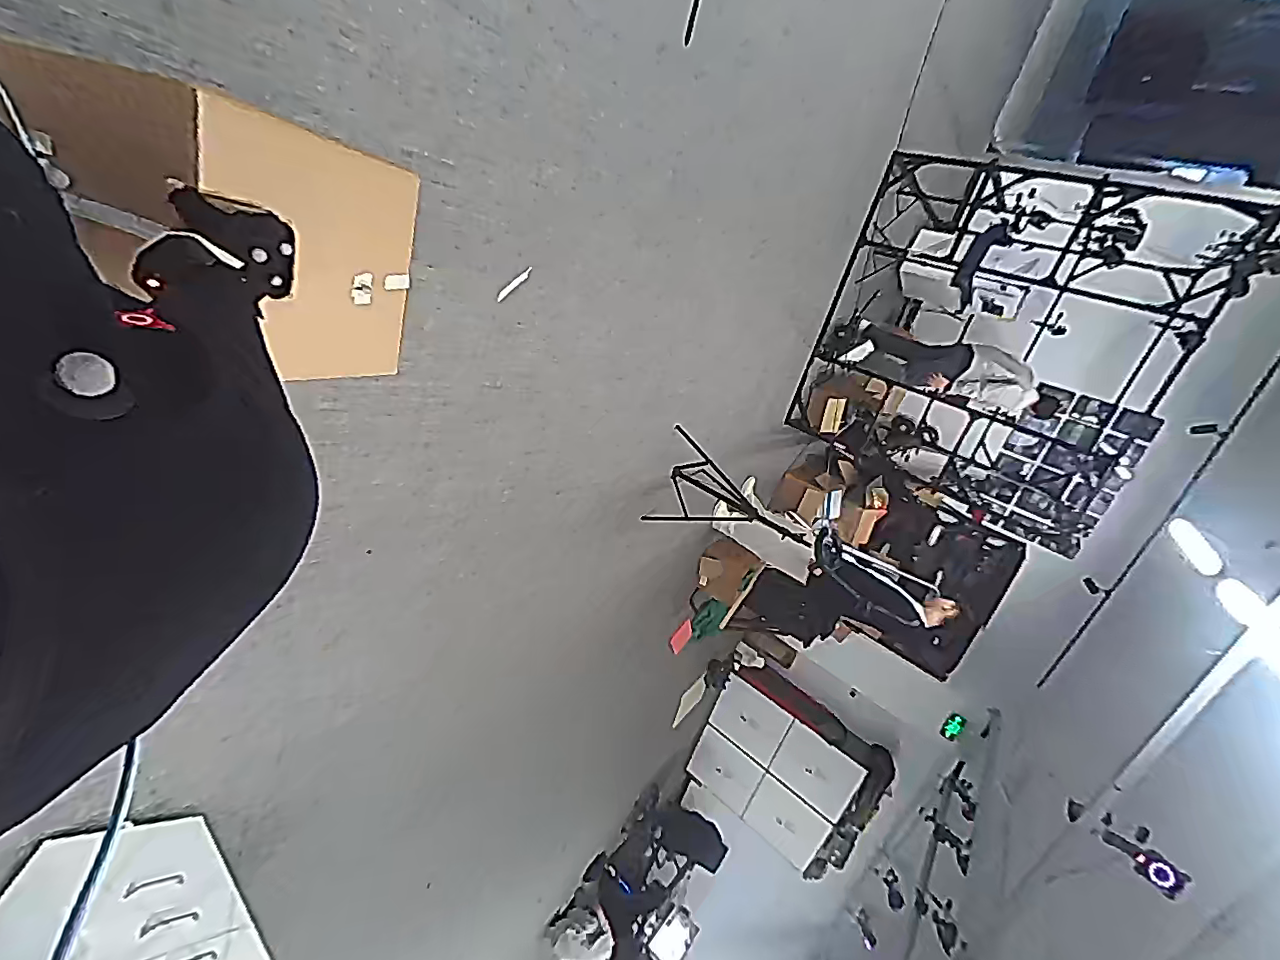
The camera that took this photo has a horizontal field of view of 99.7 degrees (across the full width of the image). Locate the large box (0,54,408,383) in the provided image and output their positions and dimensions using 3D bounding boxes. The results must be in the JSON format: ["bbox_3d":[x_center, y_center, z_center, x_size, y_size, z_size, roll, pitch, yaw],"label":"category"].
[{"bbox_3d":[-0.610,-0.350,0.784,0.320,0.408,0.320,-31,139,-66],"label":"large box"}]
